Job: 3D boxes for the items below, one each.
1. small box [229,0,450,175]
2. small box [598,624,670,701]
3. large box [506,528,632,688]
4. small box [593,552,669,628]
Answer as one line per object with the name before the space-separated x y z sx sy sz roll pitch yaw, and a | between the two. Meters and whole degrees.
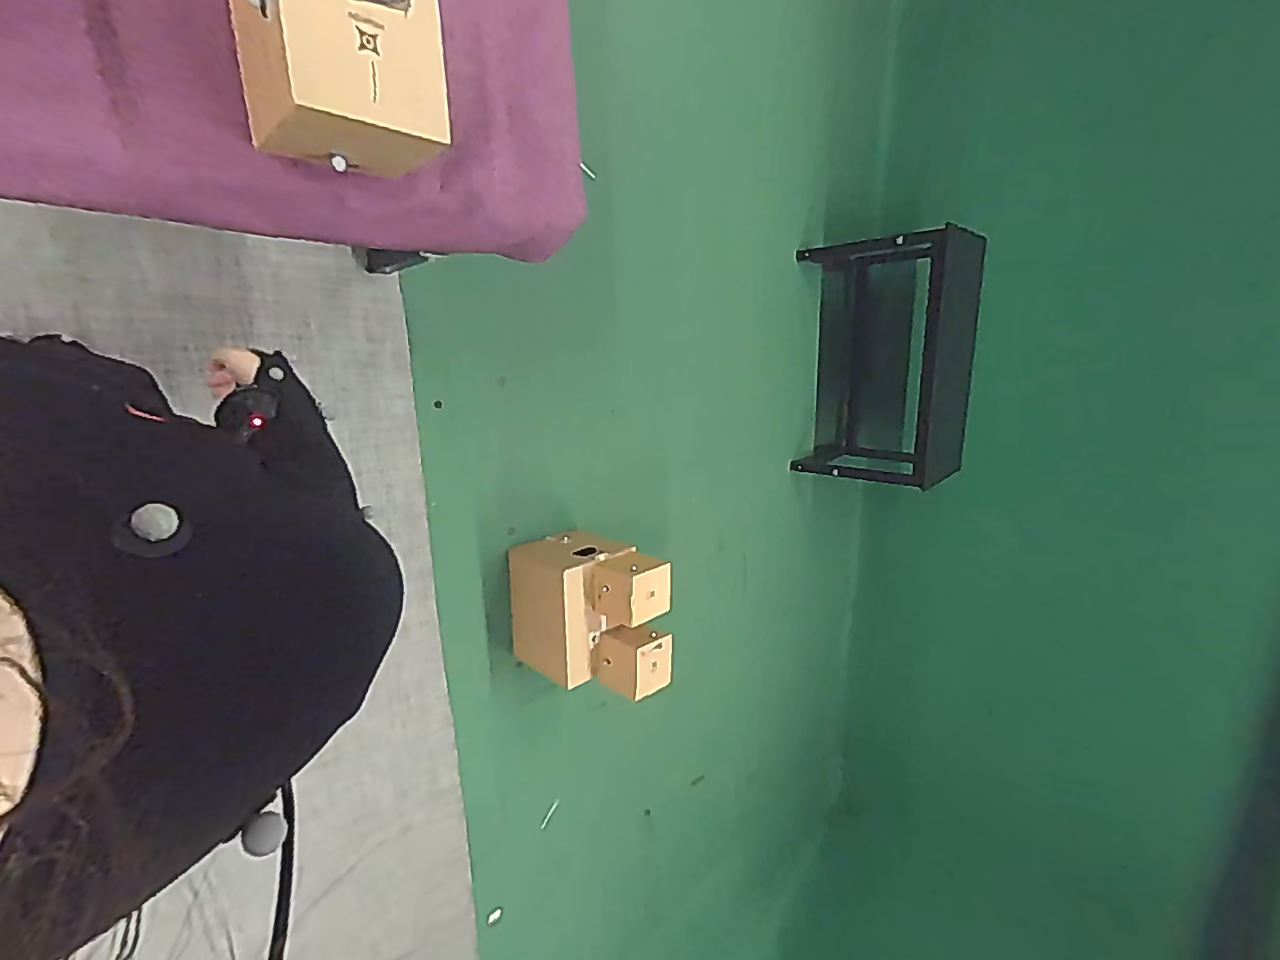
small box | -0.336 -0.471 0.604 0.168 0.176 0.179 -14 108 -44
small box | -0.024 0.581 1.760 0.168 0.176 0.179 -6 102 -46
large box | -0.239 0.415 1.858 0.320 0.320 0.408 -12 107 -44
small box | -0.030 0.338 1.706 0.179 0.176 0.168 -12 107 -45
